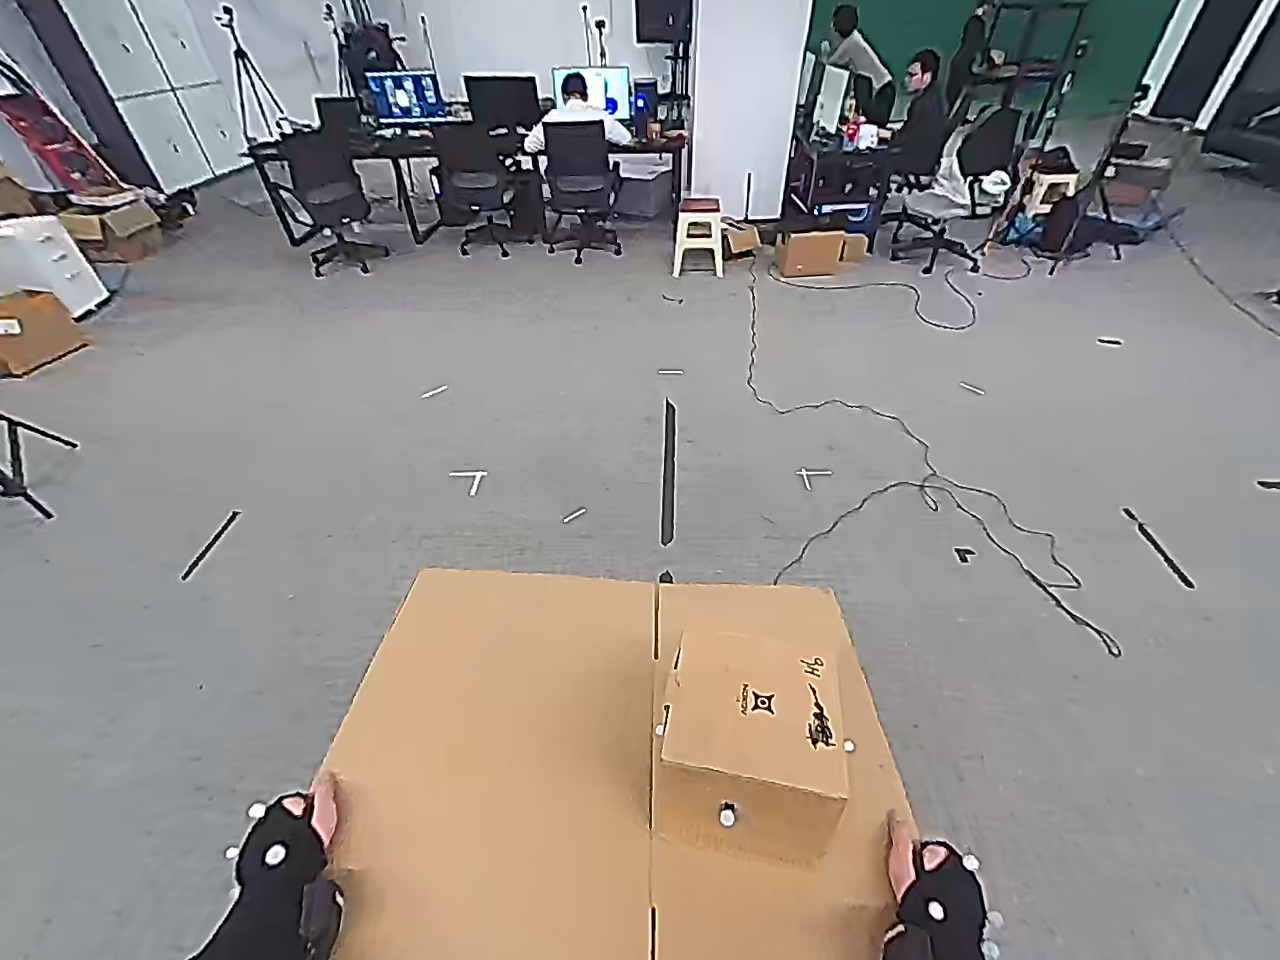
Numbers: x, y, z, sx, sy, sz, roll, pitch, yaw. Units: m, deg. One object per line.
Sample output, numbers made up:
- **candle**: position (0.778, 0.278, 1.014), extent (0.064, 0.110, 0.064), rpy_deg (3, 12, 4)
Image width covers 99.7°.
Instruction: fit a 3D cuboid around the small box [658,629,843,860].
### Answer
- **small box**: position (0.121, 0.298, 0.617), extent (0.179, 0.176, 0.168), rpy_deg (5, 36, 10)
